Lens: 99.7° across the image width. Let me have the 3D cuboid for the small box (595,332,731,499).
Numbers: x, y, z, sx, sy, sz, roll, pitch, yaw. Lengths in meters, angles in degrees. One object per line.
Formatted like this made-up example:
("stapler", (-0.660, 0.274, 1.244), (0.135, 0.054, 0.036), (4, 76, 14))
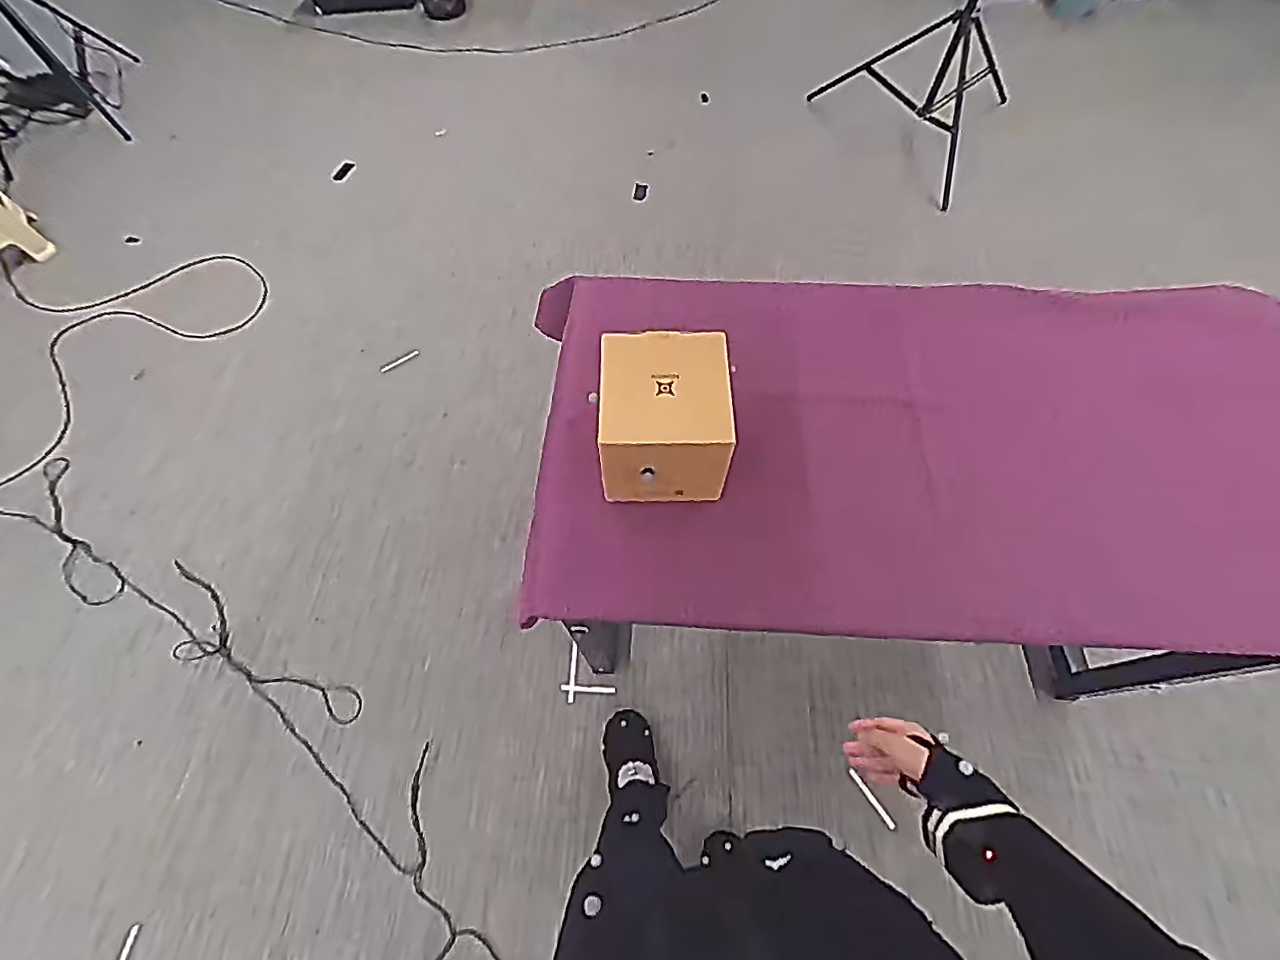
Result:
("small box", (0.031, -0.081, 0.751), (0.168, 0.176, 0.179), (-1, 62, 1))
